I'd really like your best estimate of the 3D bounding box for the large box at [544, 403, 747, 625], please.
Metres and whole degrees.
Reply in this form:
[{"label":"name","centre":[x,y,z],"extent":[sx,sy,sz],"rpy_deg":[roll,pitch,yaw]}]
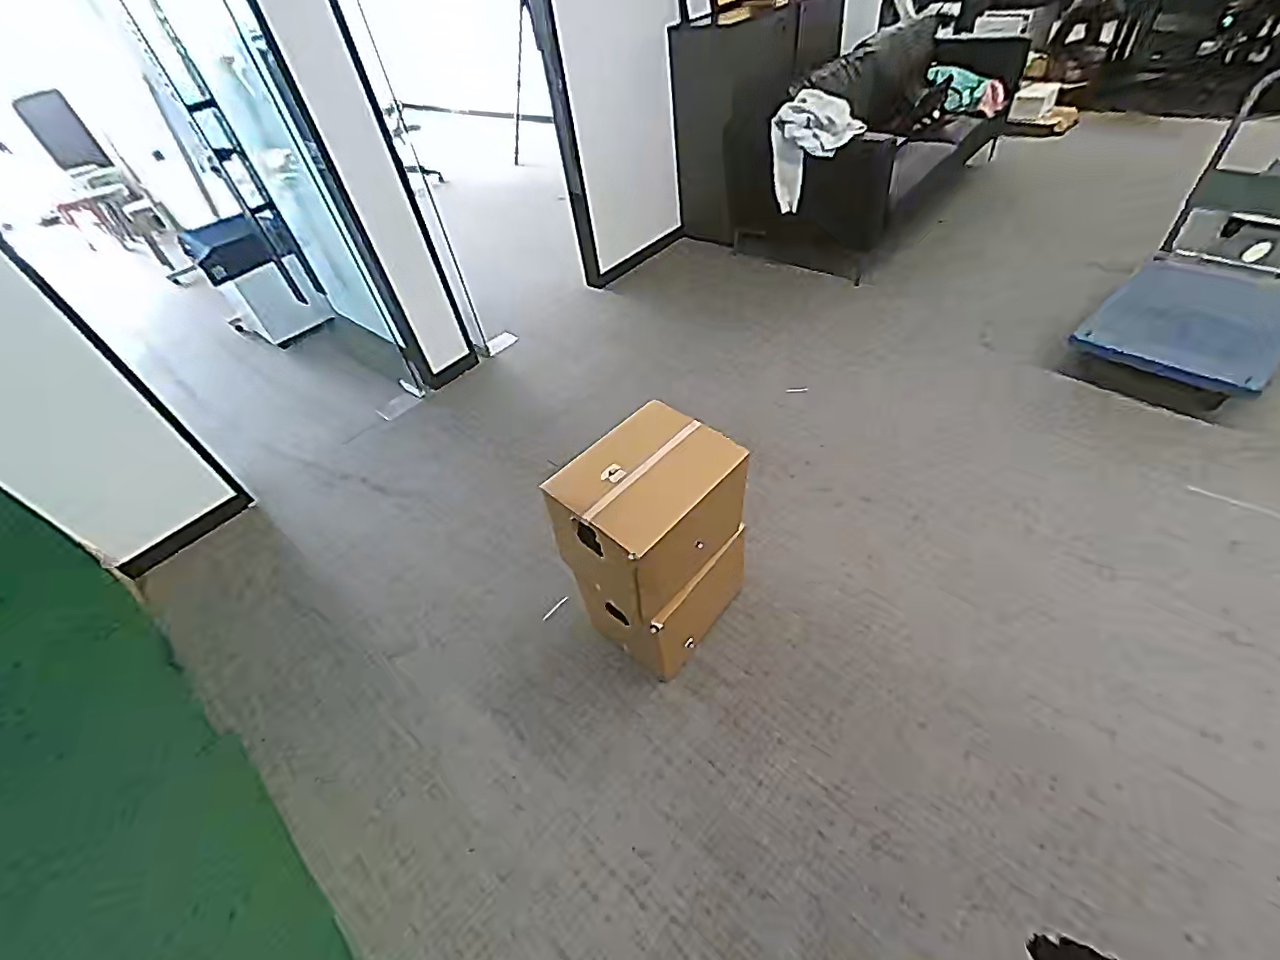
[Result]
[{"label":"large box","centre":[0.026,0.080,1.385],"extent":[0.320,0.320,0.408],"rpy_deg":[33,59,29]}]
